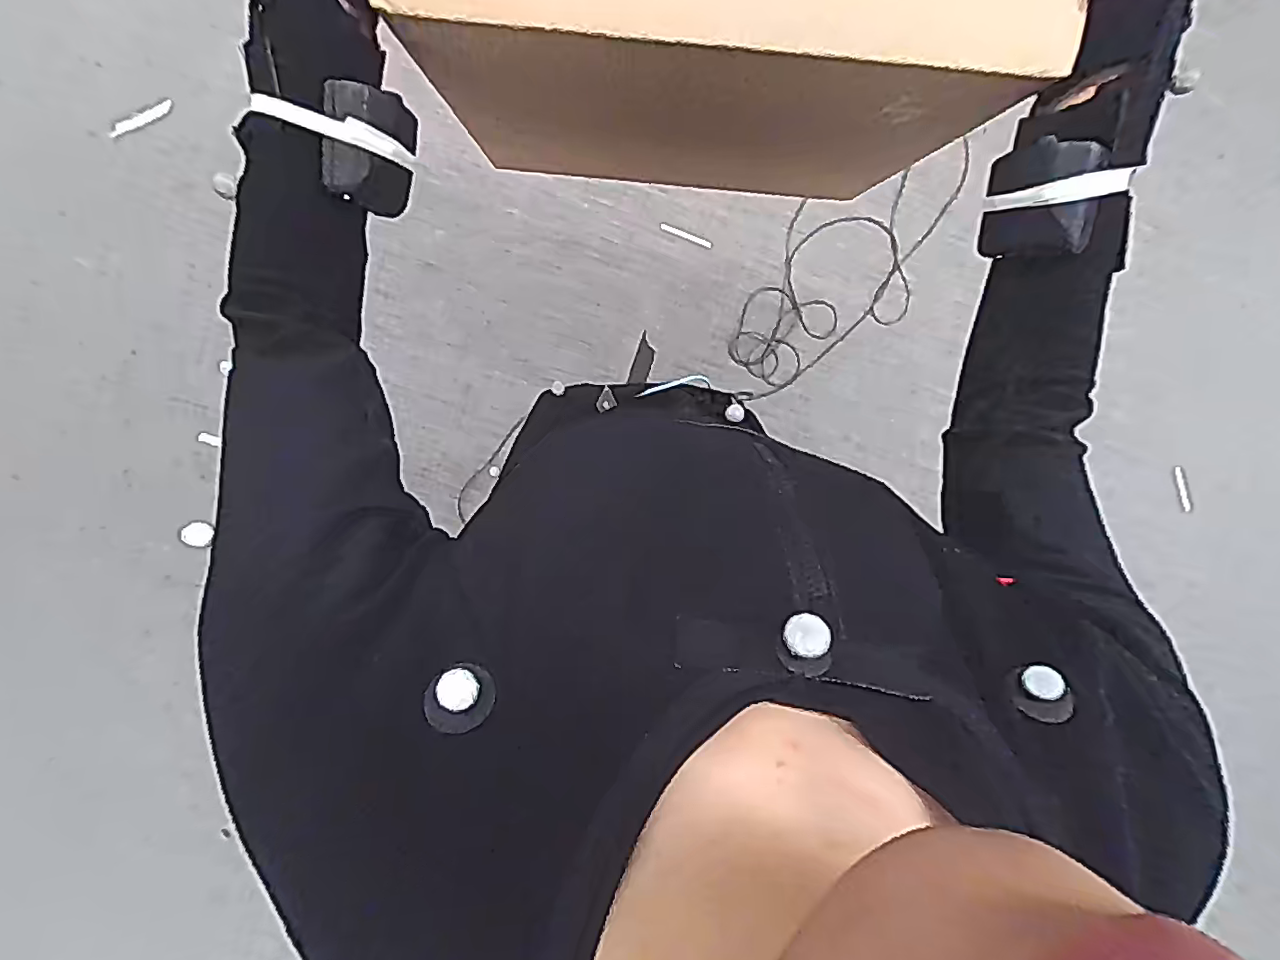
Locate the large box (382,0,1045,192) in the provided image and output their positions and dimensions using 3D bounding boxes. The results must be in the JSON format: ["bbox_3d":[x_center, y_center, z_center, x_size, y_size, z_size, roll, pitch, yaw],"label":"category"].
[{"bbox_3d":[0.045,-0.443,0.430,0.408,0.320,0.320,2,106,-4],"label":"large box"}]
